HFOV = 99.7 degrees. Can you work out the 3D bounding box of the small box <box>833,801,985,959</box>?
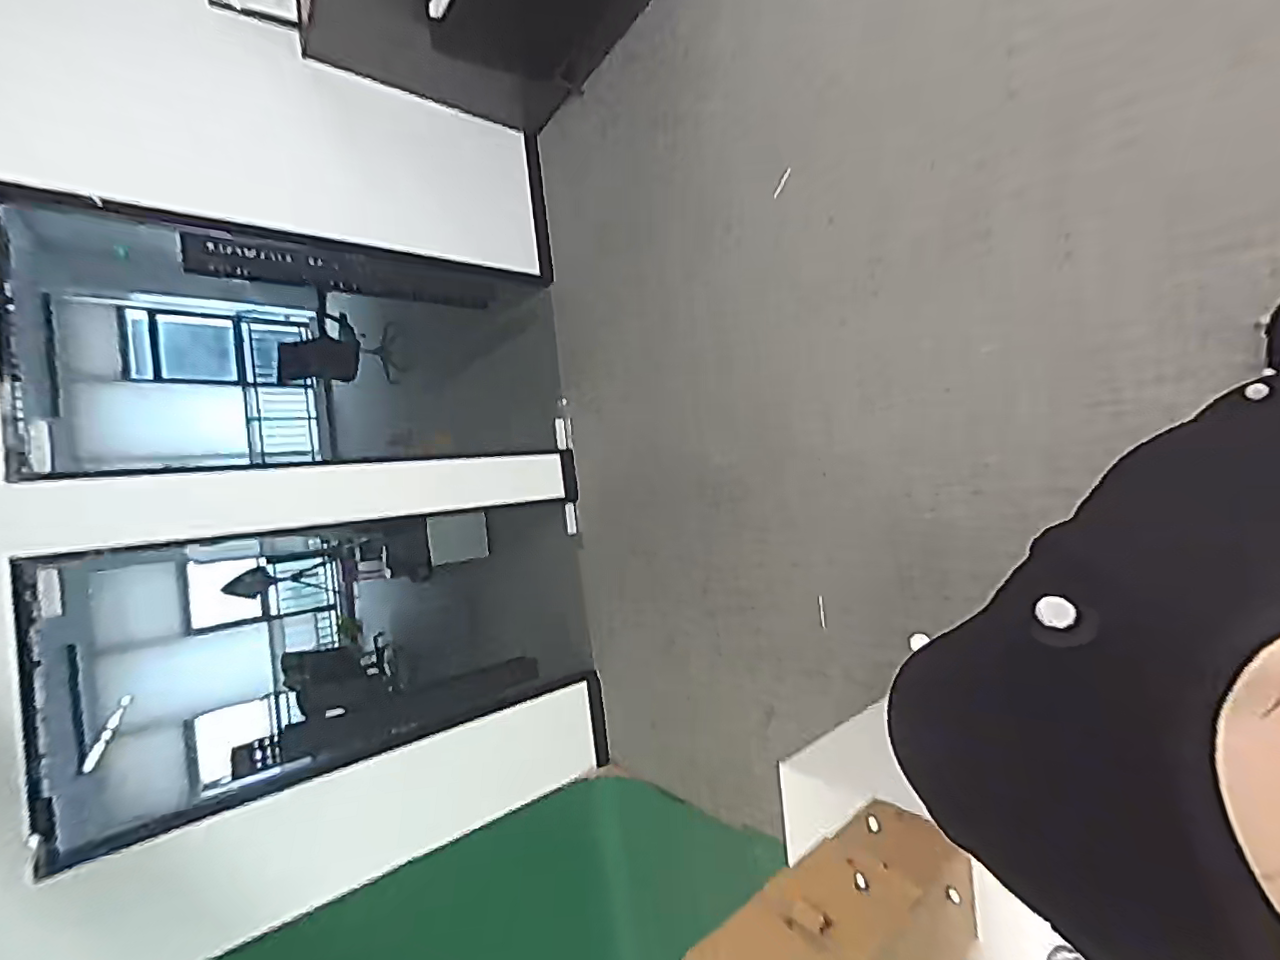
[{"bbox_3d":[0.450,0.681,0.905,0.168,0.176,0.179,-6,92,53],"label":"small box"}]
